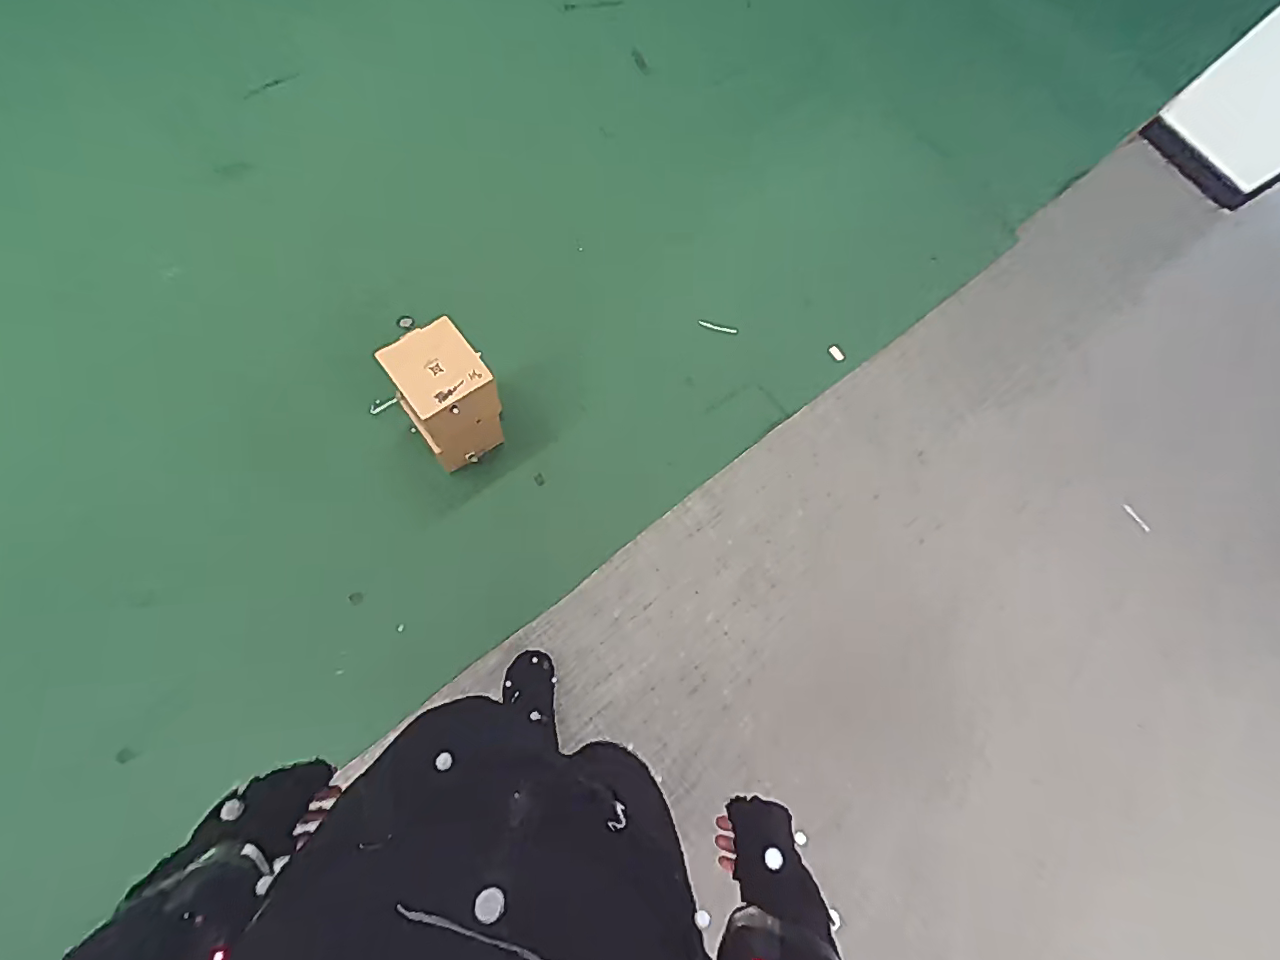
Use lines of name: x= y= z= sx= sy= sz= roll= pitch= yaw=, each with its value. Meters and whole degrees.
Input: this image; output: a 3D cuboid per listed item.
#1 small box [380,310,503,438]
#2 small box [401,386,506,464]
small box: x=-0.415 y=-0.219 z=1.158 sx=0.168 sy=0.176 sz=0.179 roll=-36 pitch=82 yaw=-16
small box: x=-0.443 y=-0.166 z=1.311 sx=0.168 sy=0.176 sz=0.179 roll=-36 pitch=84 yaw=-16
